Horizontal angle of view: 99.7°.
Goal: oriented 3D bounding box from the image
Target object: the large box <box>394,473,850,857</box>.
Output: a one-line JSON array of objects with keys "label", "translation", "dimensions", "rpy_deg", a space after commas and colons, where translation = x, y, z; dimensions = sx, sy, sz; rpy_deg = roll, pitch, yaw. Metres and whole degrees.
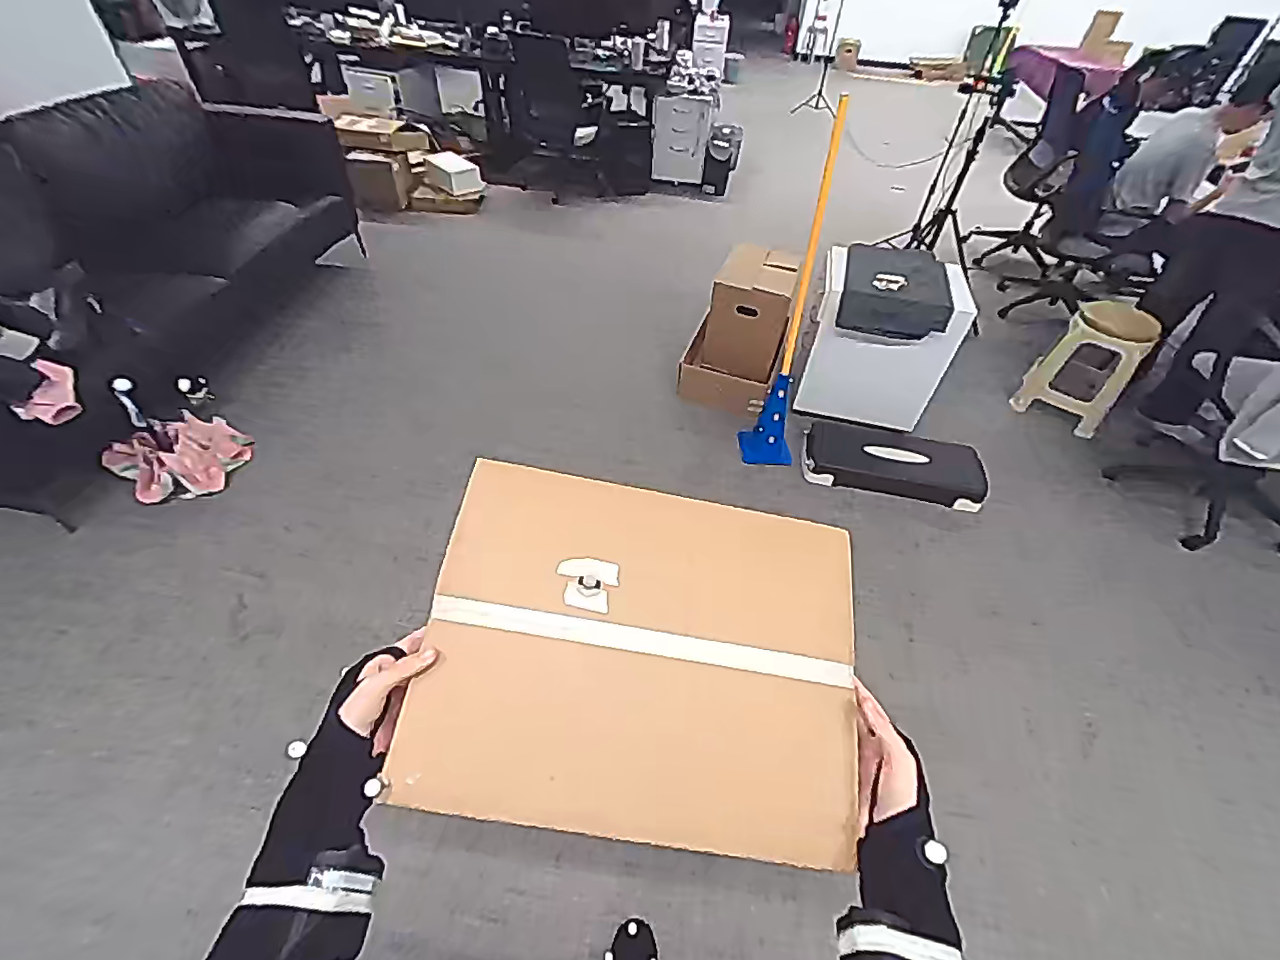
[{"label": "large box", "translation": [-0.009, 0.220, 0.657], "dimensions": [0.408, 0.320, 0.320], "rpy_deg": [10, 64, -3]}]
